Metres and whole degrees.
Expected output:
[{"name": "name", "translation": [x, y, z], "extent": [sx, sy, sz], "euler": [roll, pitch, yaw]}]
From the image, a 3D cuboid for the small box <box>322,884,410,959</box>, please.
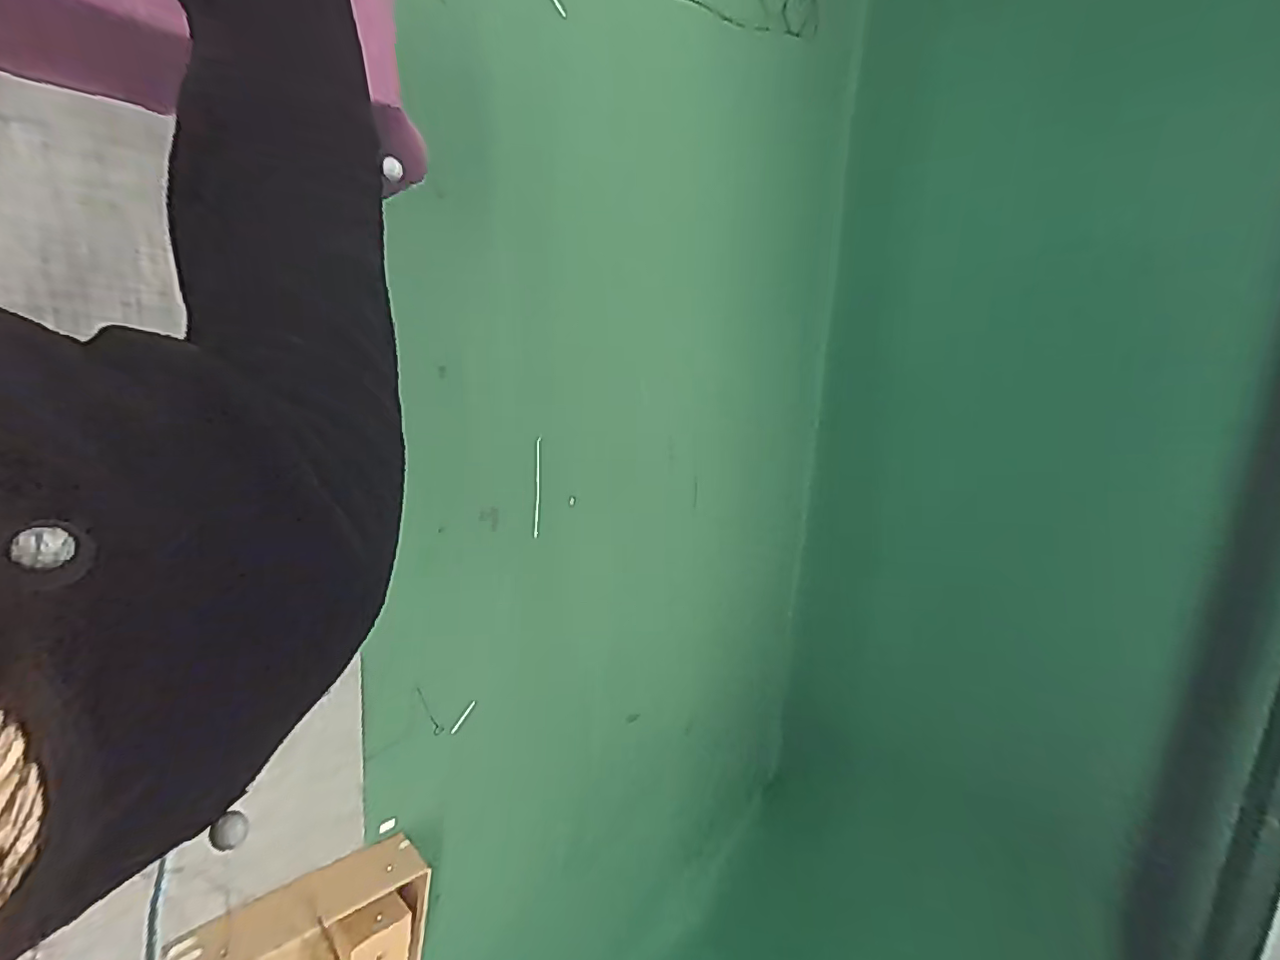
[{"name": "small box", "translation": [-0.816, 1.364, 1.610], "extent": [0.179, 0.176, 0.168], "euler": [2, 96, -50]}]
